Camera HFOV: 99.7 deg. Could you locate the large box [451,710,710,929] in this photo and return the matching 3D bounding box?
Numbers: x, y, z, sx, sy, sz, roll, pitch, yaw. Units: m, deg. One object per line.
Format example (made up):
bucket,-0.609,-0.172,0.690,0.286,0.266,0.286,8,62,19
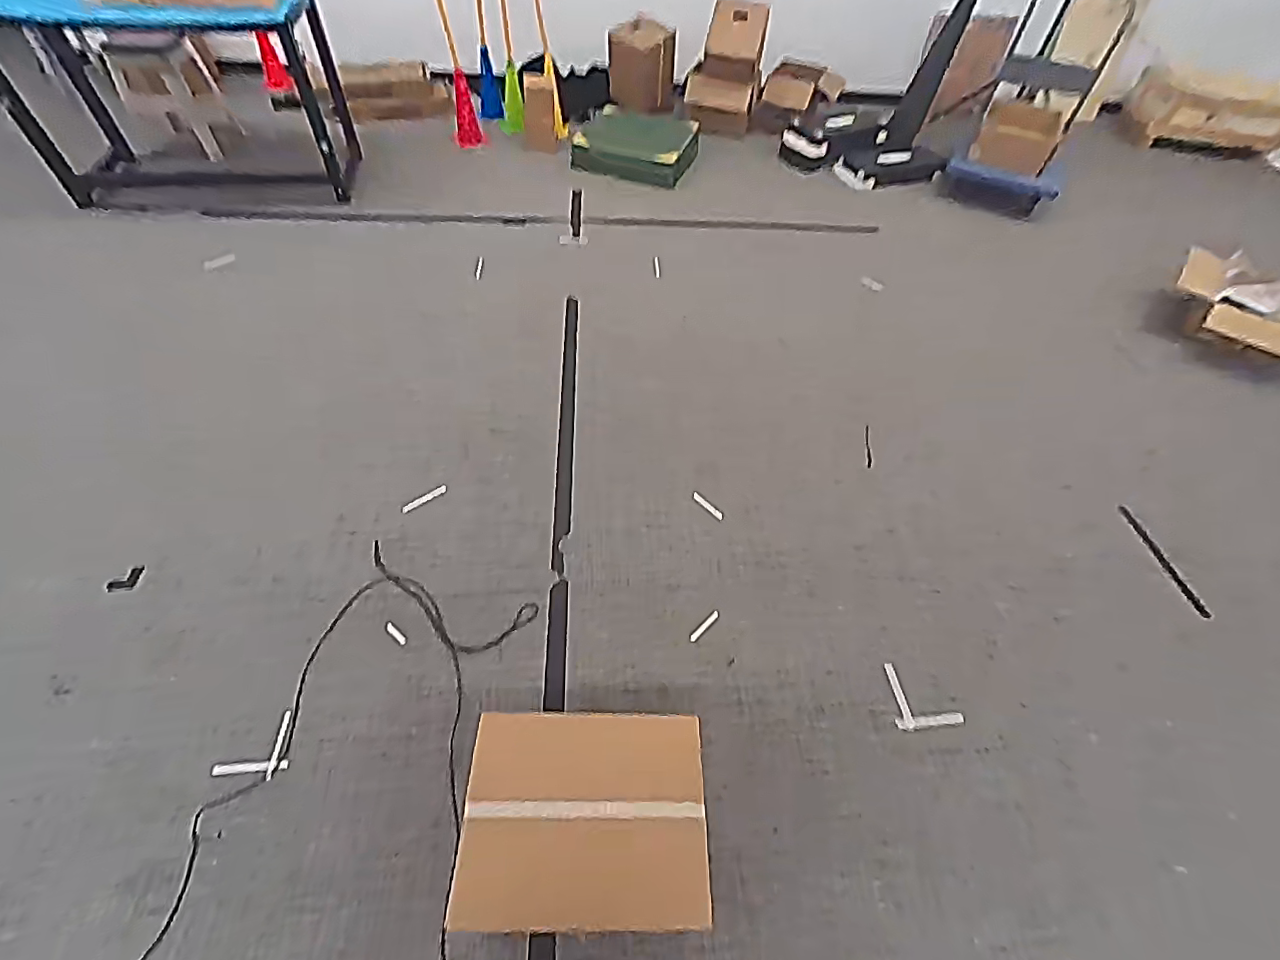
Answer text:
large box,-0.102,0.646,1.029,0.408,0.320,0.320,2,52,-3
